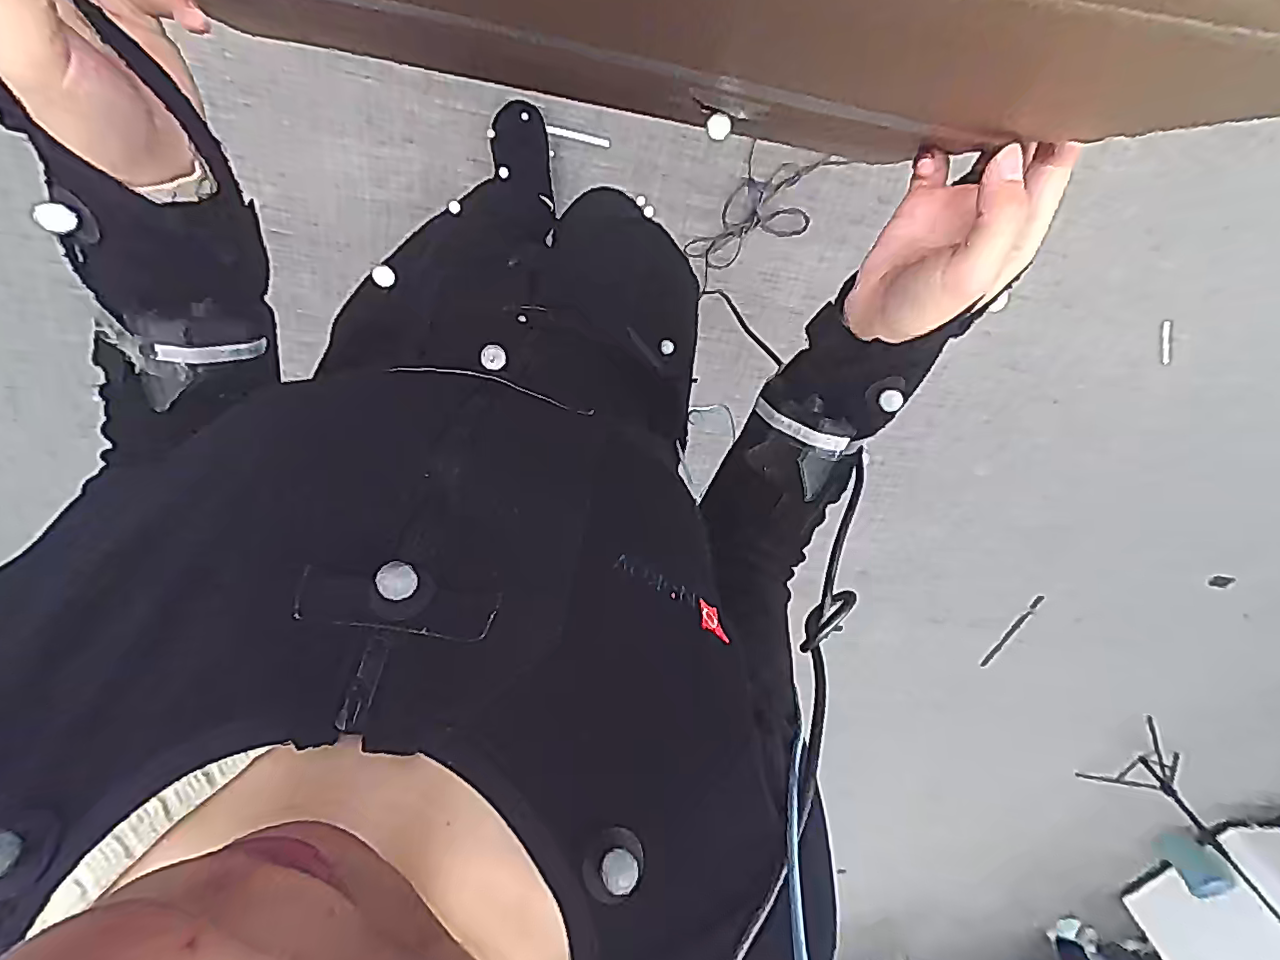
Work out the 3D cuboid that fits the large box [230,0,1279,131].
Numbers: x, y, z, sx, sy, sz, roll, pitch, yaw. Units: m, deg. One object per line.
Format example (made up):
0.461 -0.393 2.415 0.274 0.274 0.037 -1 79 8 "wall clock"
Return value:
0.003 -0.317 0.135 0.408 0.320 0.320 5 118 -9 "large box"
